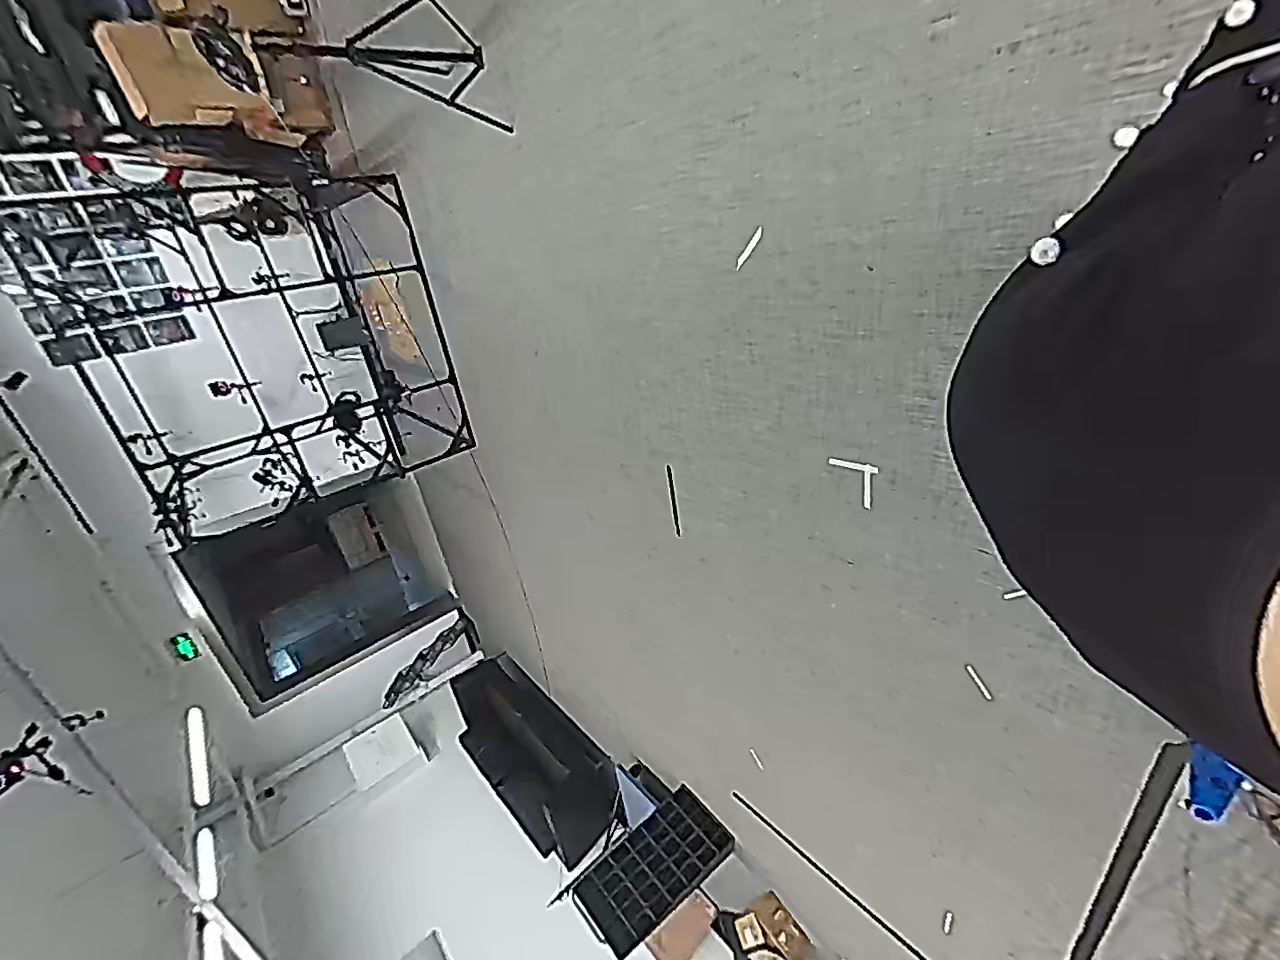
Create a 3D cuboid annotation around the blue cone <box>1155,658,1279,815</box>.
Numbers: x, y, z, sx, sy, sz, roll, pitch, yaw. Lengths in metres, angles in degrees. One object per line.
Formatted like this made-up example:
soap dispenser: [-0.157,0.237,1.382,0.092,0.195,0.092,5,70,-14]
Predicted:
blue cone: [1.216,0.581,1.156,0.192,0.380,0.193,38,139,35]
